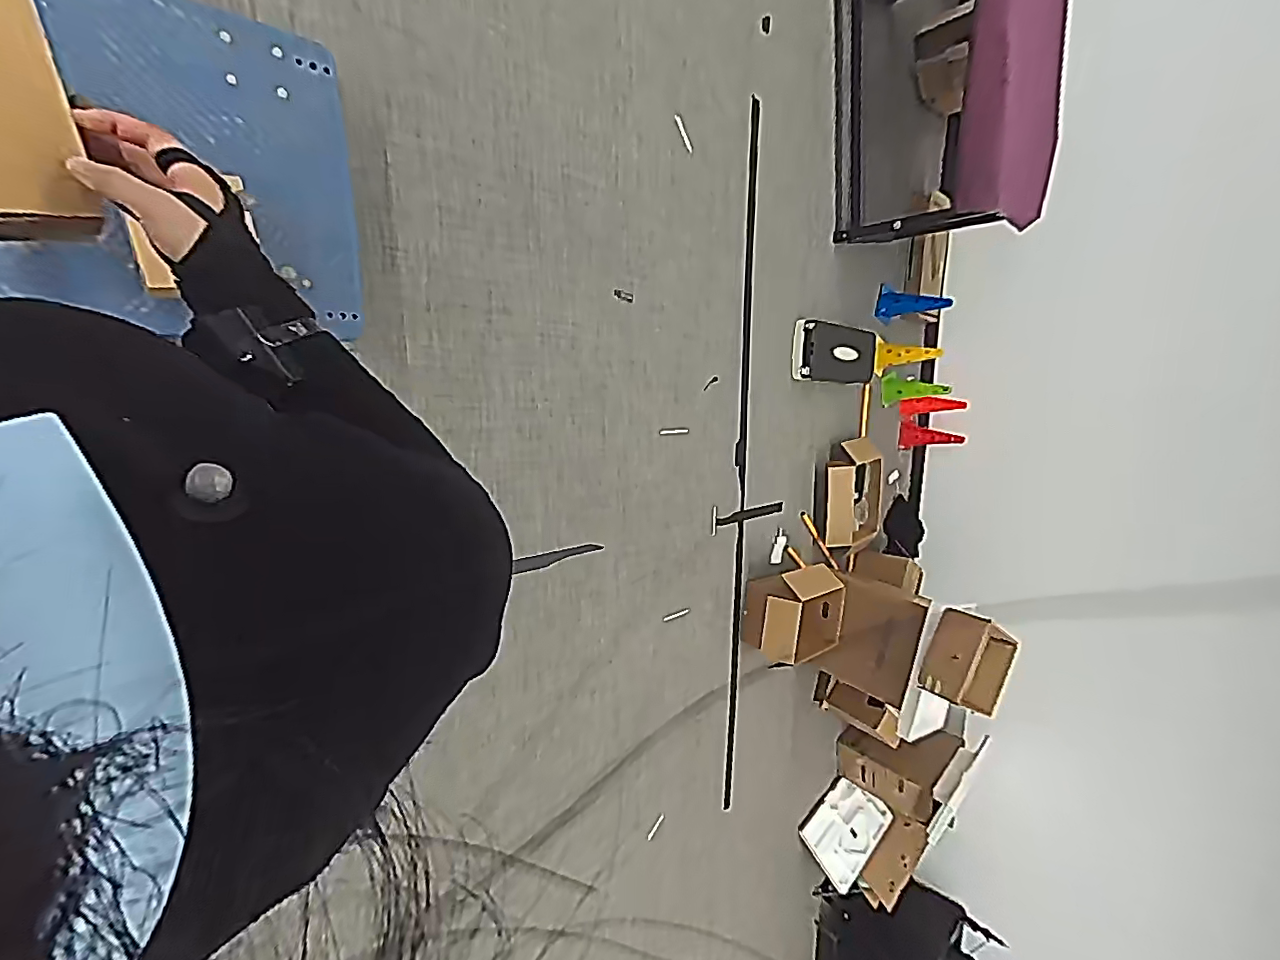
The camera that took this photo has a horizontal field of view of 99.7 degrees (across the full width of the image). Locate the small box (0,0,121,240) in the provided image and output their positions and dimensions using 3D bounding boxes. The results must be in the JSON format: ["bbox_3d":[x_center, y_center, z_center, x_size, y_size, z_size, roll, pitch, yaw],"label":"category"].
[{"bbox_3d":[-0.483,-0.261,0.352,0.168,0.176,0.179,-21,118,-42],"label":"small box"}]
